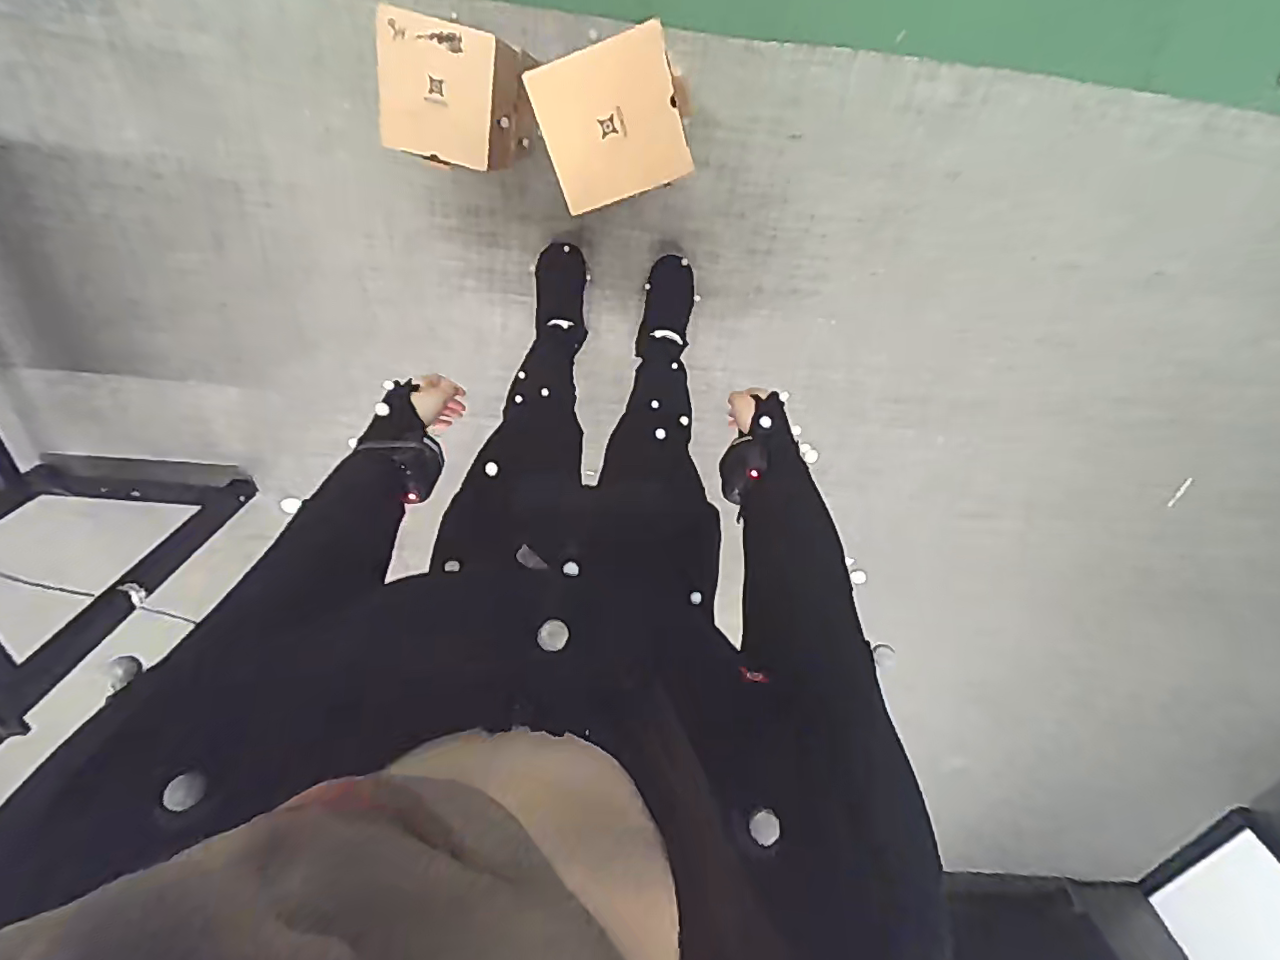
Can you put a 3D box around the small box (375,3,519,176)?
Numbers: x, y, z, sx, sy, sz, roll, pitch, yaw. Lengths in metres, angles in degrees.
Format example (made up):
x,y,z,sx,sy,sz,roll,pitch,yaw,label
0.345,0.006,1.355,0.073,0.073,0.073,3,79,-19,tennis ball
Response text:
x,y,z,sx,sy,sz,roll,pitch,yaw,label
-0.294,-0.598,0.846,0.168,0.176,0.179,12,122,-6,small box

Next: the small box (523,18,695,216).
x,y,z,sx,sy,sz,roll,pitch,yaw,label
-0.033,-0.480,0.732,0.179,0.176,0.168,-16,123,9,small box
